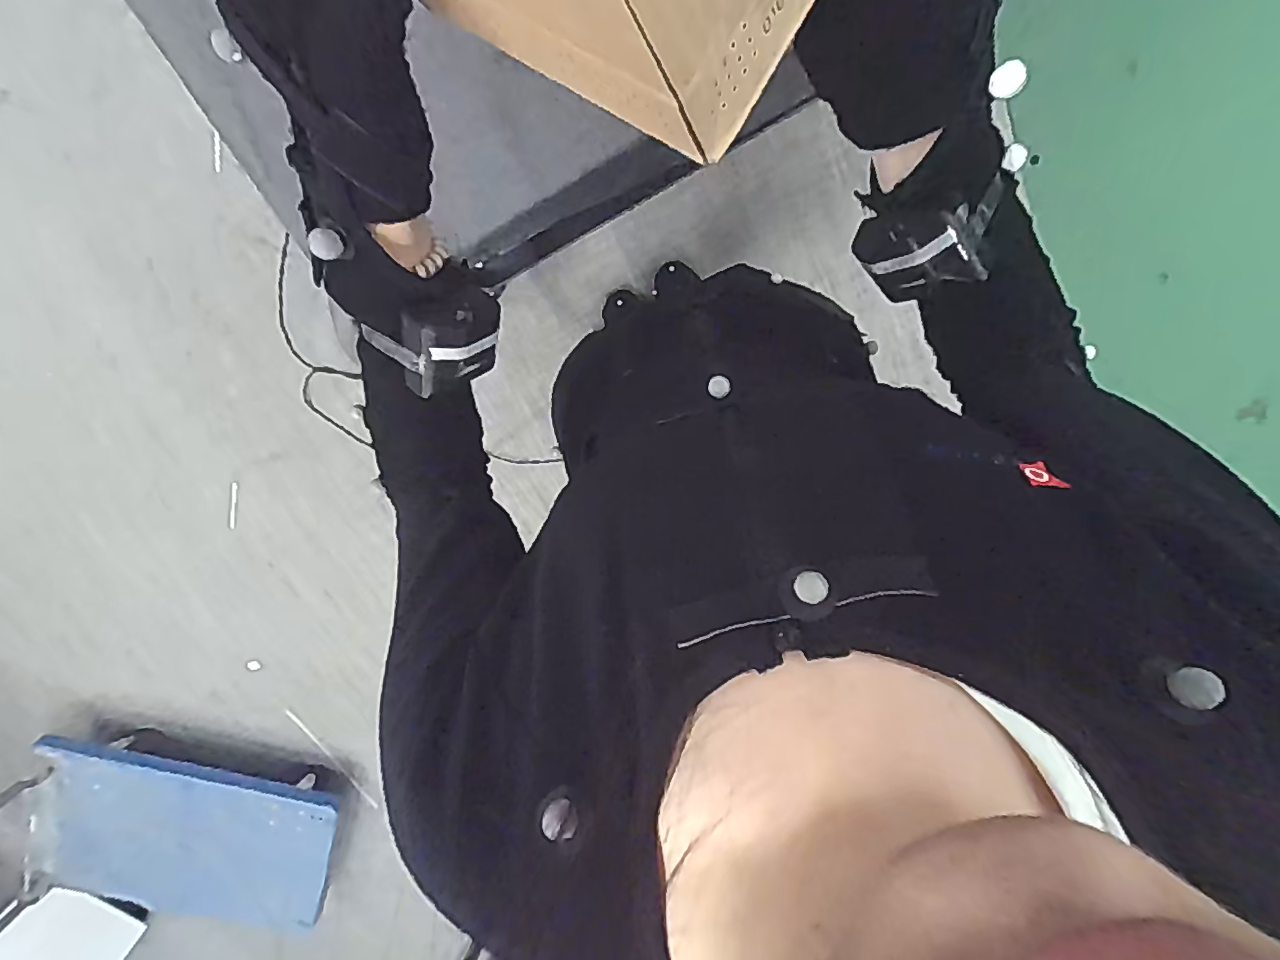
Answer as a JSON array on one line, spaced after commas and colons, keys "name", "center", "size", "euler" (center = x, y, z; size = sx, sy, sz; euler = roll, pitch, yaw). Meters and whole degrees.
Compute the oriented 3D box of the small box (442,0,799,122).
[{"name": "small box", "center": [-0.023, -0.243, 0.144], "size": [0.179, 0.176, 0.168], "euler": [37, 106, 14]}]
